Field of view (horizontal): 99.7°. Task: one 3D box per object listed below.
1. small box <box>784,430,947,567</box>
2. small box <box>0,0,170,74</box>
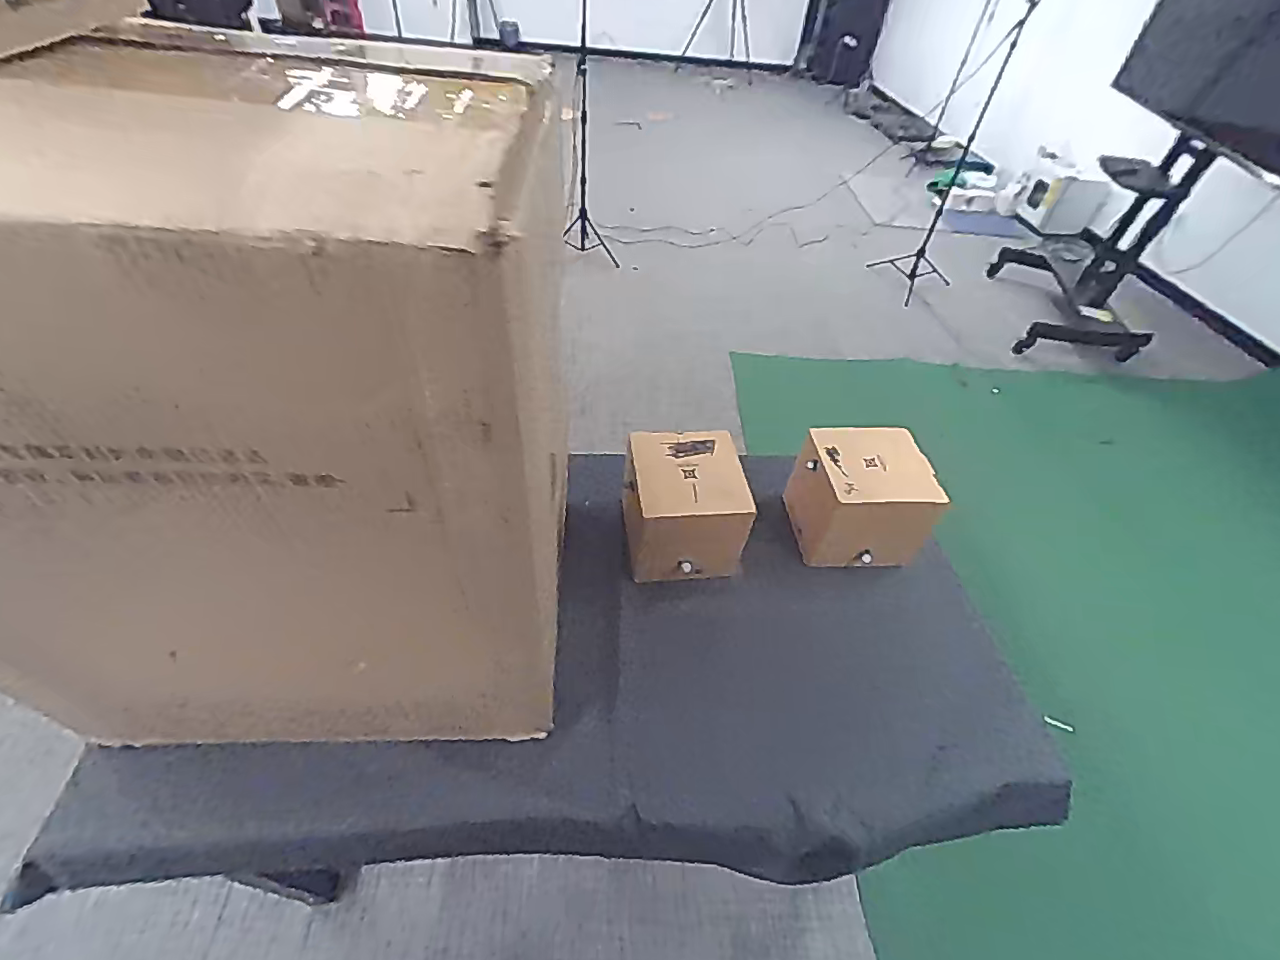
[{"bbox_3d":[0.366,0.034,0.915,0.179,0.176,0.168,1,47,-6],"label":"small box"},{"bbox_3d":[-0.408,-0.328,0.267,0.179,0.176,0.168,8,52,-3],"label":"small box"}]
